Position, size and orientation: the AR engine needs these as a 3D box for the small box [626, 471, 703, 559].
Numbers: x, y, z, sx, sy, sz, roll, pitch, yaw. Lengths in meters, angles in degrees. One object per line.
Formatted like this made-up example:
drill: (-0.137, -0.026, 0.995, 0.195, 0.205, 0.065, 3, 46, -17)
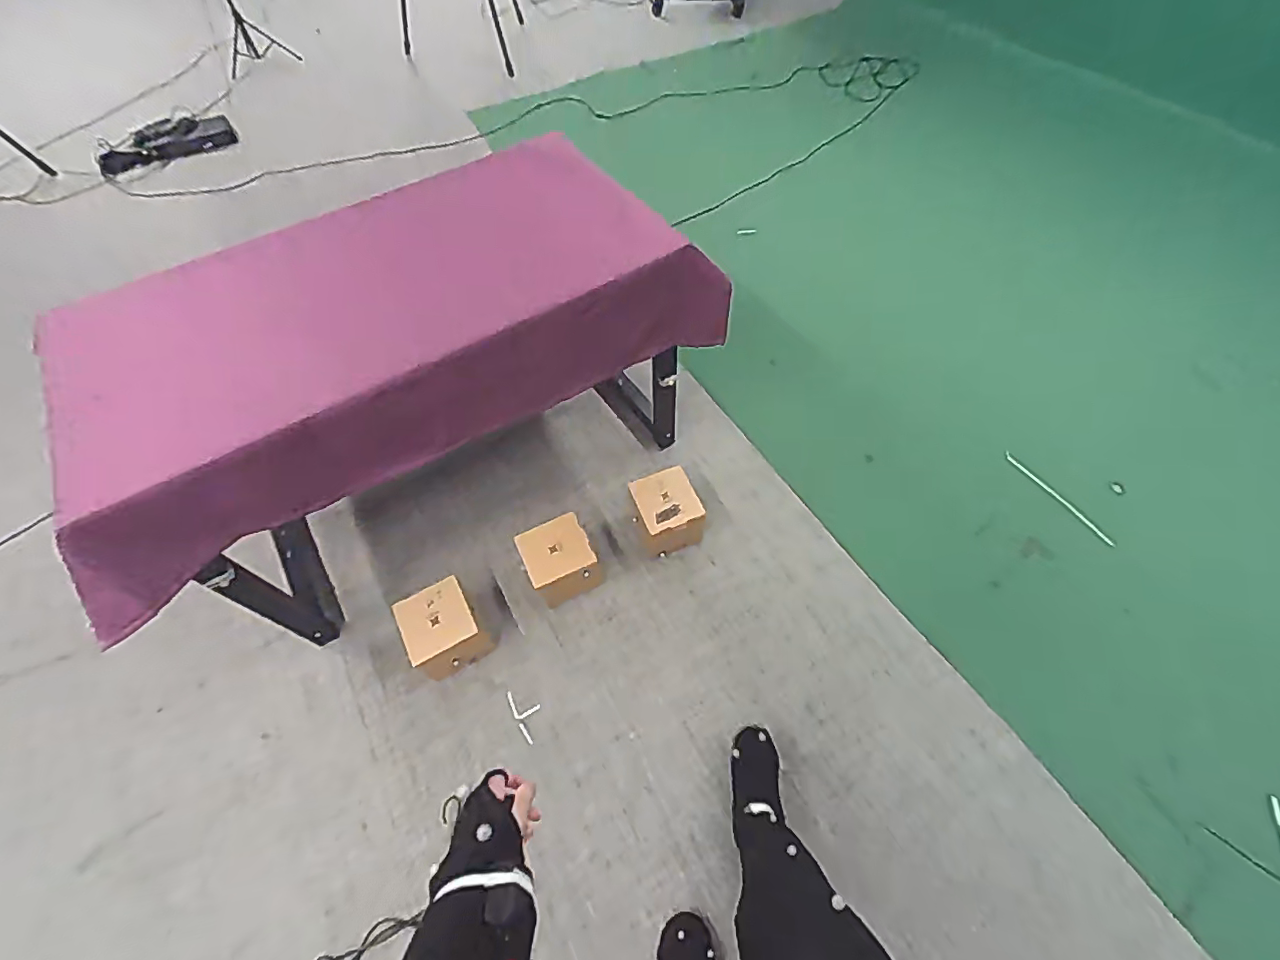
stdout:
small box: (0.070, 0.108, 1.550, 0.168, 0.176, 0.179, -20, 58, -11)
